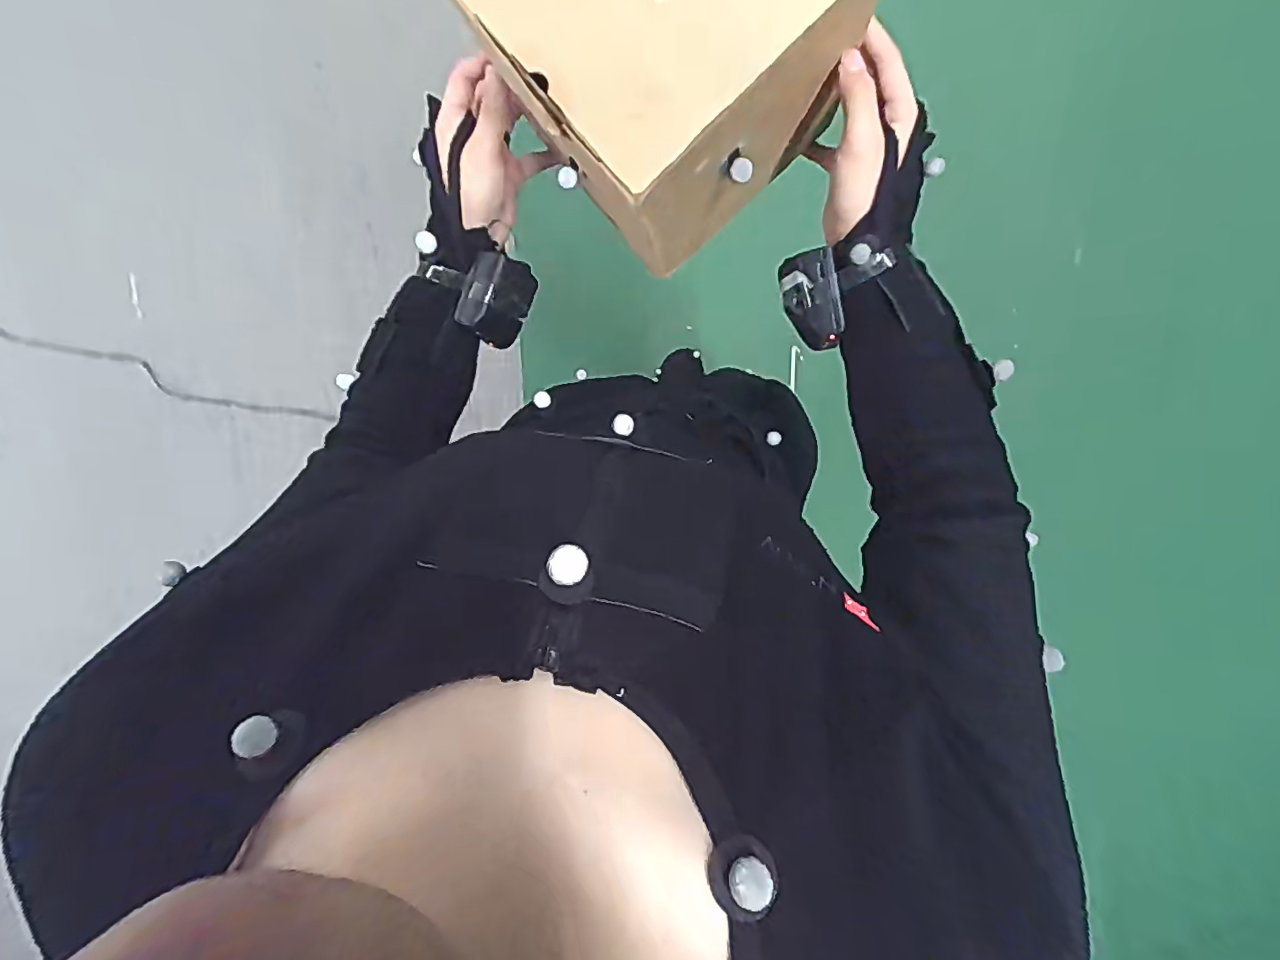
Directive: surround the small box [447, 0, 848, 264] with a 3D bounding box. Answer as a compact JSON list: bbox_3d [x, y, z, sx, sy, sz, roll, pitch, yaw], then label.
[{"bbox_3d":[0.017,-0.280,0.364,0.179,0.176,0.168,-42,89,11],"label":"small box"}]
